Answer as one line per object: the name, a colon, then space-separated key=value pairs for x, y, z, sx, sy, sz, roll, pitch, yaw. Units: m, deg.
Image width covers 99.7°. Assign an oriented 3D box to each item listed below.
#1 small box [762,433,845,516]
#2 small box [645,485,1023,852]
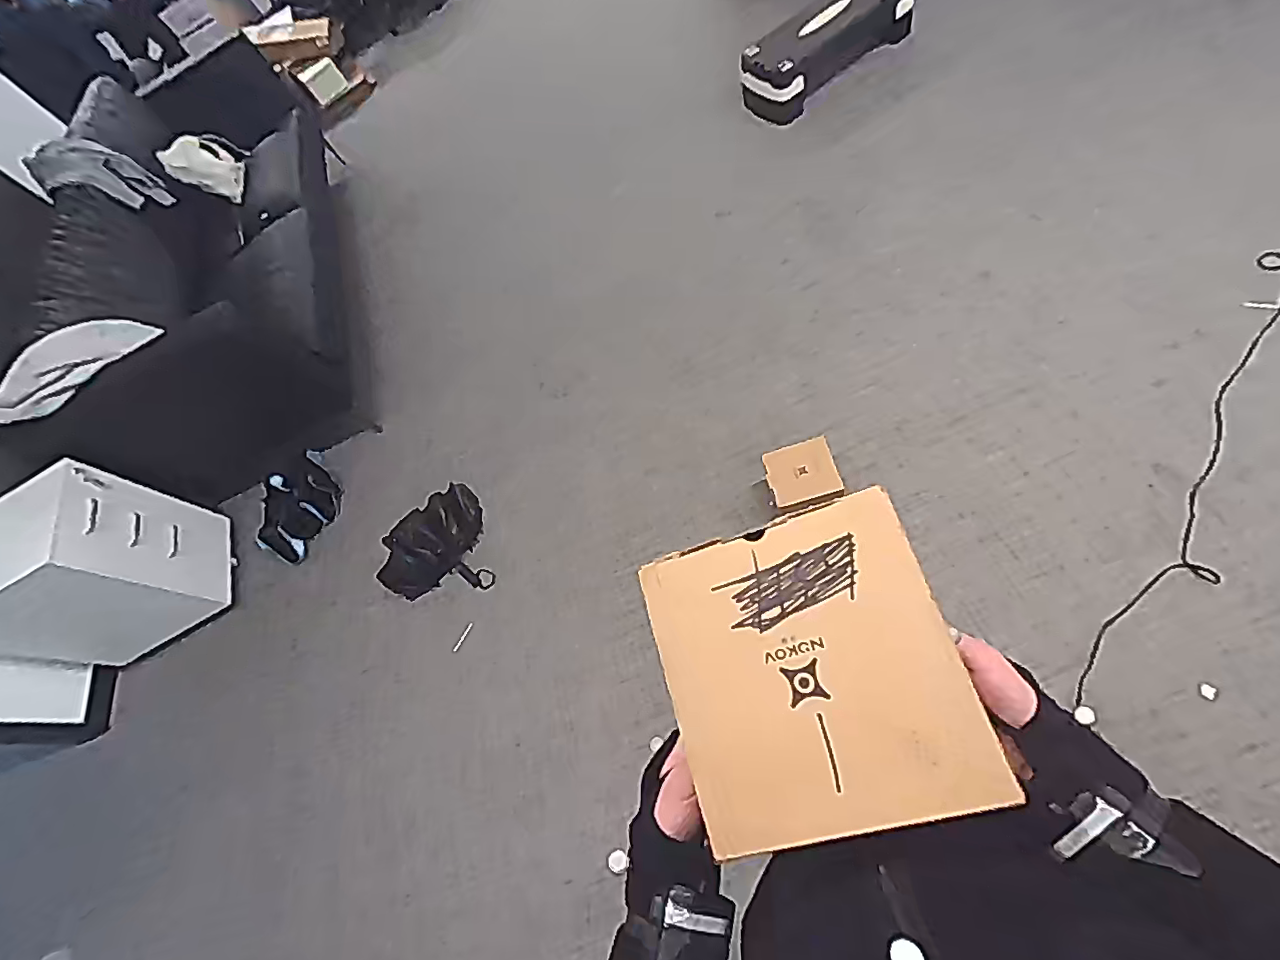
small box: x=0.455 y=0.000 z=1.501 sx=0.179 sy=0.176 sz=0.168 roll=-18 pitch=63 yaw=10
small box: x=0.123 y=0.126 z=0.388 sx=0.168 sy=0.176 sz=0.179 roll=-21 pitch=70 yaw=15
